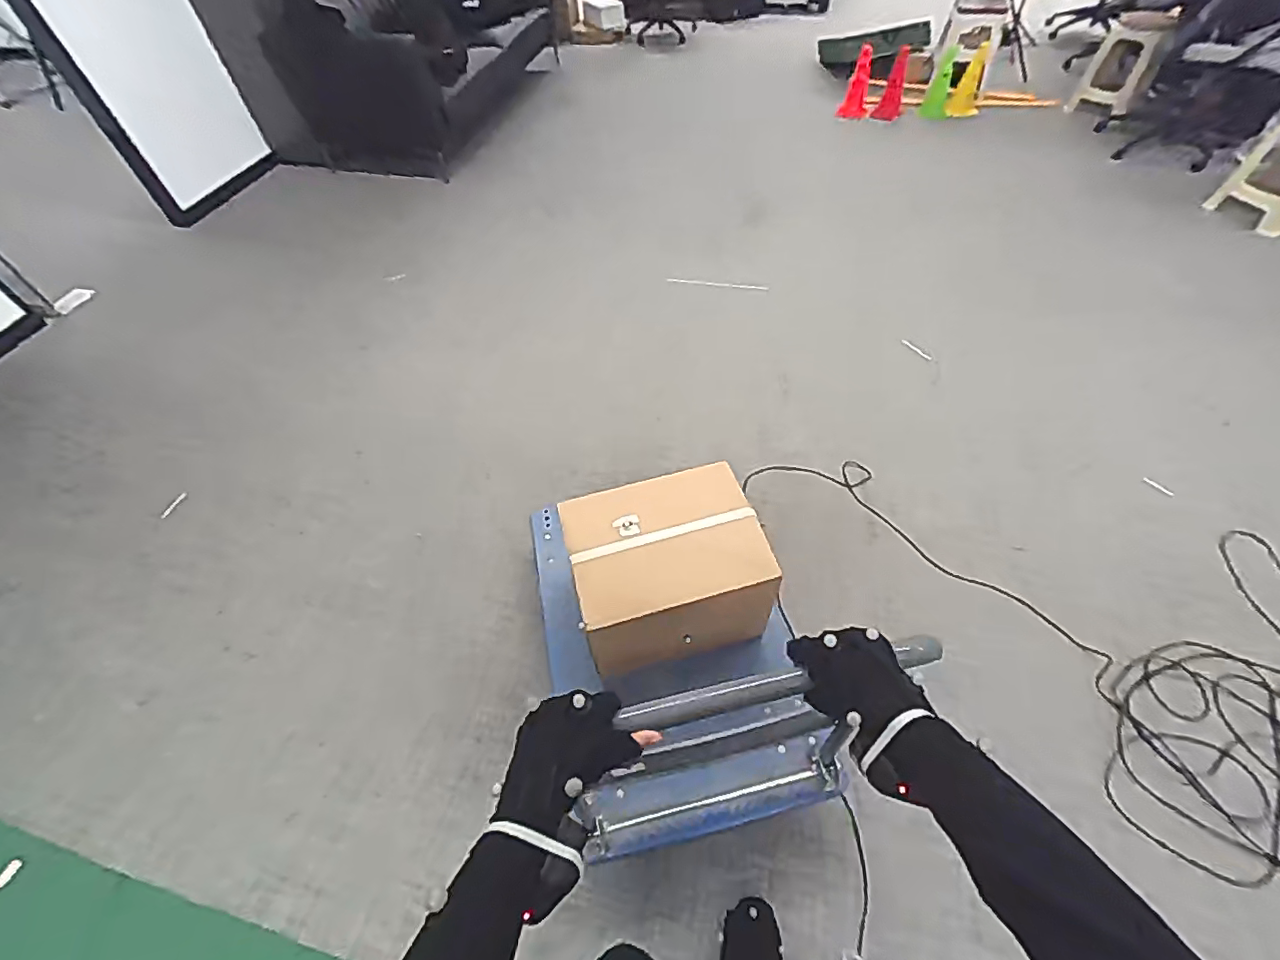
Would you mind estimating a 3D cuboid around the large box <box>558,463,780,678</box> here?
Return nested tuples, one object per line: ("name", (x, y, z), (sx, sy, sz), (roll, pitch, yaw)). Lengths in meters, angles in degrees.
("large box", (0.058, 0.215, 1.257), (0.408, 0.320, 0.320), (-15, 53, -7))
